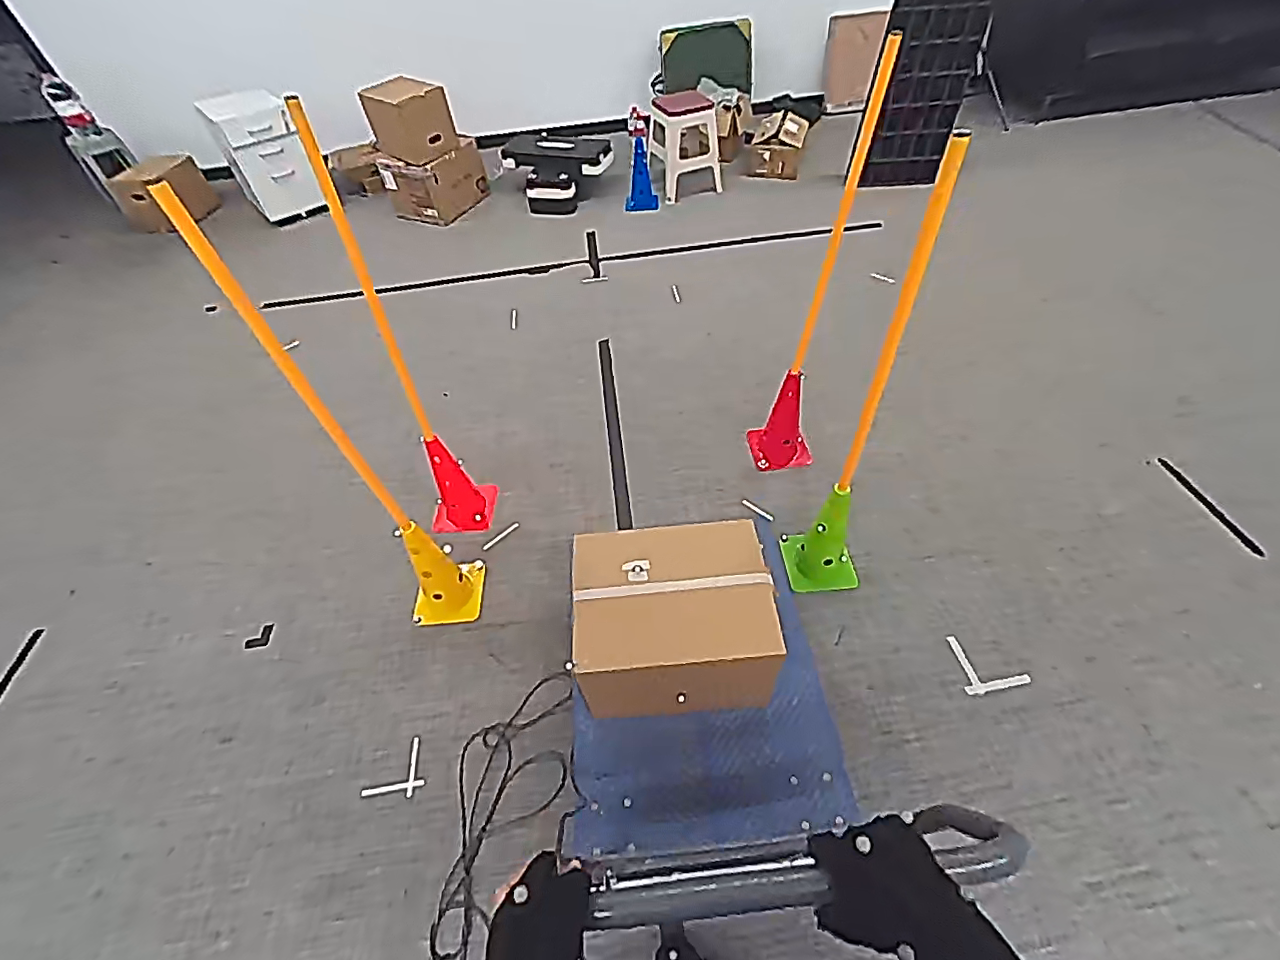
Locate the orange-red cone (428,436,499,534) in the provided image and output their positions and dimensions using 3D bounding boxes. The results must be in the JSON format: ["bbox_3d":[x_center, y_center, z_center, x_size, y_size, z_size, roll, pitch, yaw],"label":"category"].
[{"bbox_3d":[-0.613,-0.006,1.759,0.198,0.360,0.199,-2,49,3],"label":"orange-red cone"}]

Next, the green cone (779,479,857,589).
[{"bbox_3d":[0.536,0.132,1.533,0.202,0.368,0.200,-5,50,0],"label":"green cone"}]

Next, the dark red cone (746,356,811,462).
[{"bbox_3d":[0.492,-0.248,1.833,0.201,0.394,0.202,-7,50,-3],"label":"dark red cone"}]

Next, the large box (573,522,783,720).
[{"bbox_3d":[0.075,0.327,1.225,0.408,0.320,0.320,-6,50,1],"label":"large box"}]
